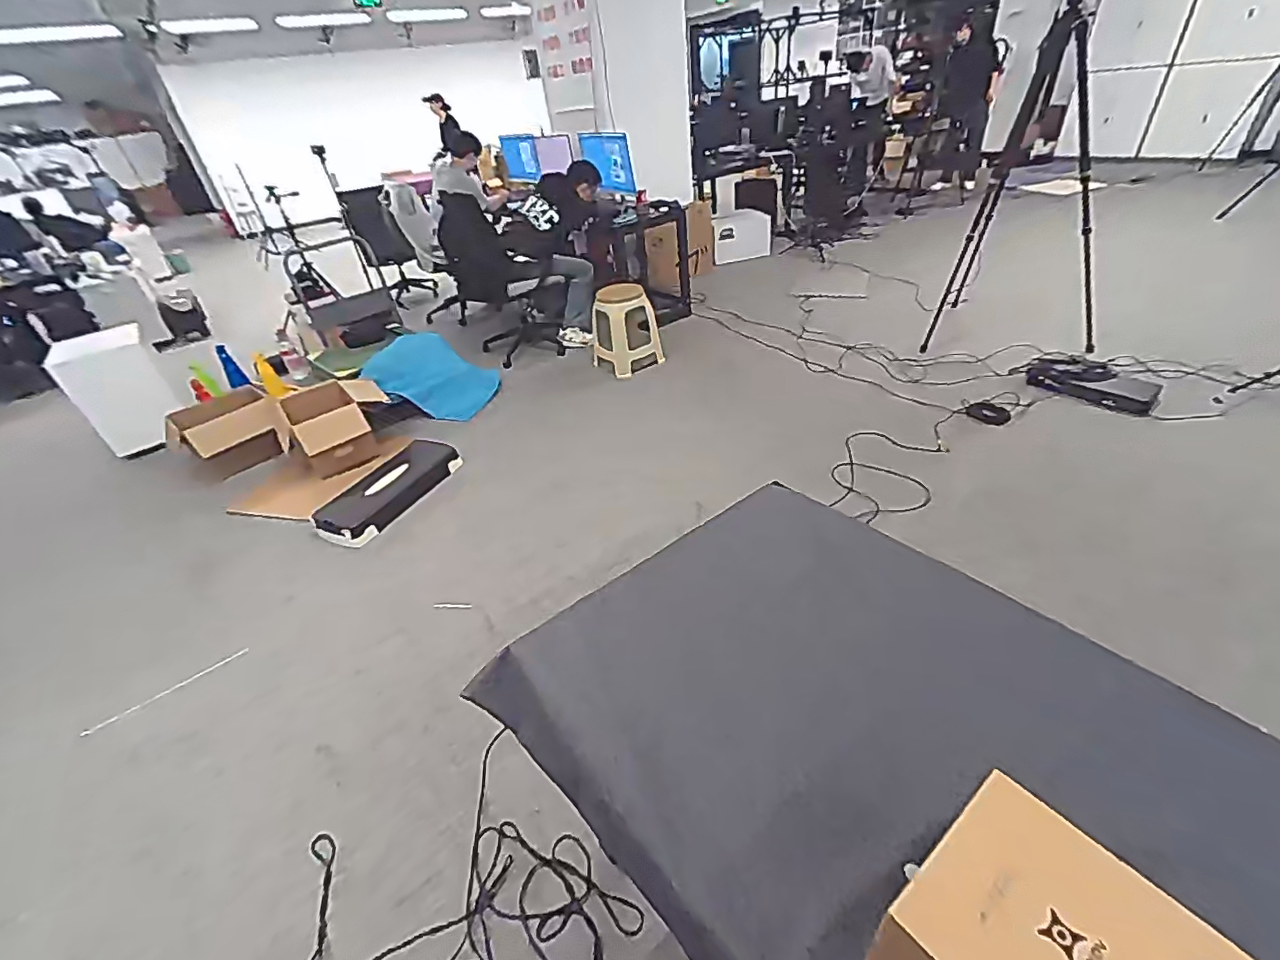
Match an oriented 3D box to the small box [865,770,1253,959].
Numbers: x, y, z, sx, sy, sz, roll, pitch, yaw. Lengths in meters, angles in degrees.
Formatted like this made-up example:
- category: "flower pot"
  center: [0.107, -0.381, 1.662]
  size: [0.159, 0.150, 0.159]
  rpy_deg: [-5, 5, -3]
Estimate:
- category: "small box"
  center: [0.306, 0.386, 0.426]
  size: [0.168, 0.176, 0.179]
  rpy_deg: [-27, 39, -27]
